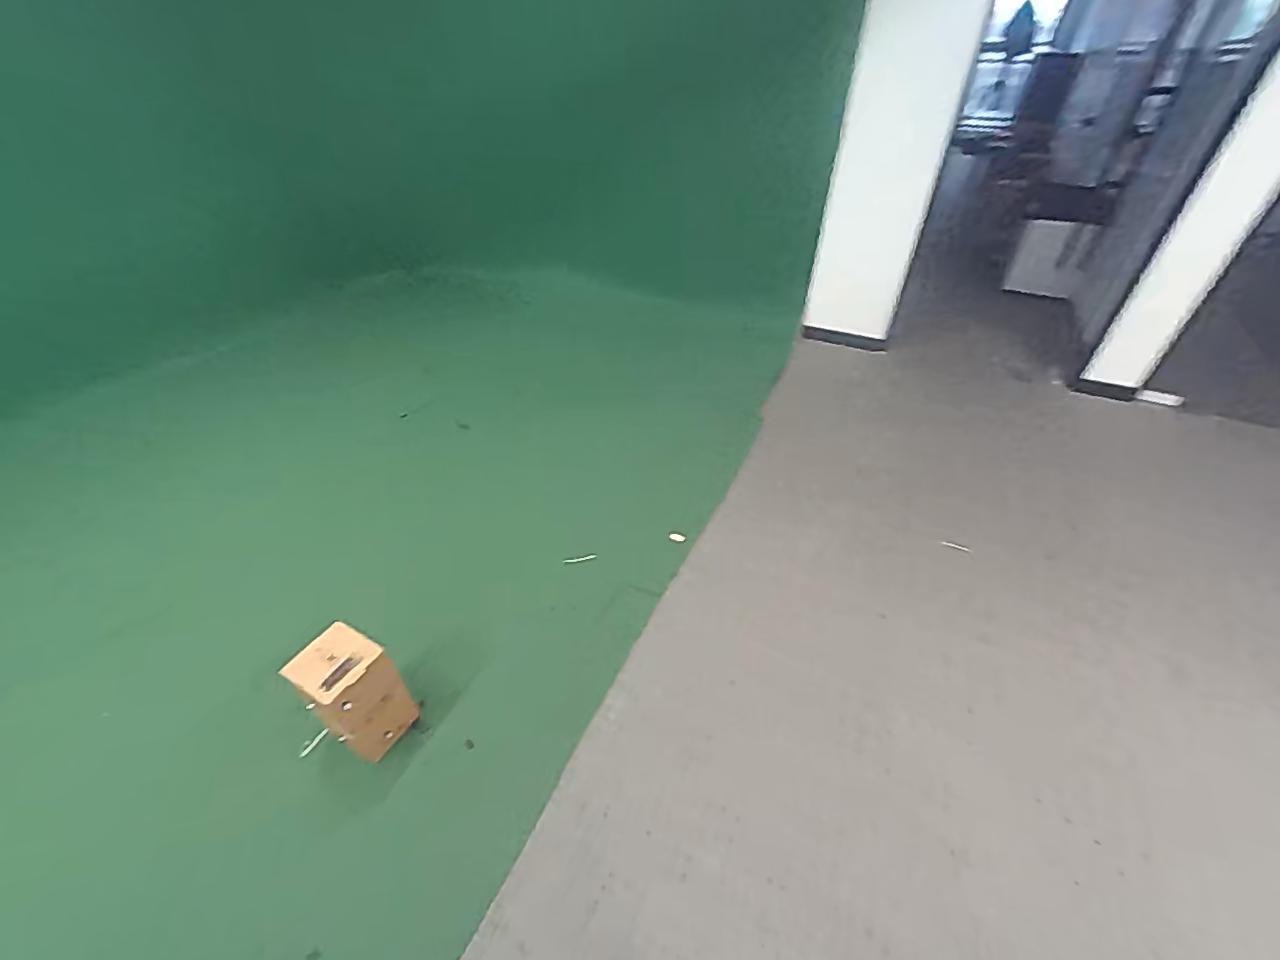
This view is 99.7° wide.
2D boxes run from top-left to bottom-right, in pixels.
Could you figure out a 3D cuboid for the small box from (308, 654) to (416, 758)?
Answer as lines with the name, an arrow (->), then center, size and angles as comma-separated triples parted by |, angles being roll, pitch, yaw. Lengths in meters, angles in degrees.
small box -> -0.745, 0.616, 1.466 | 0.179, 0.176, 0.168 | 21, 46, 21
